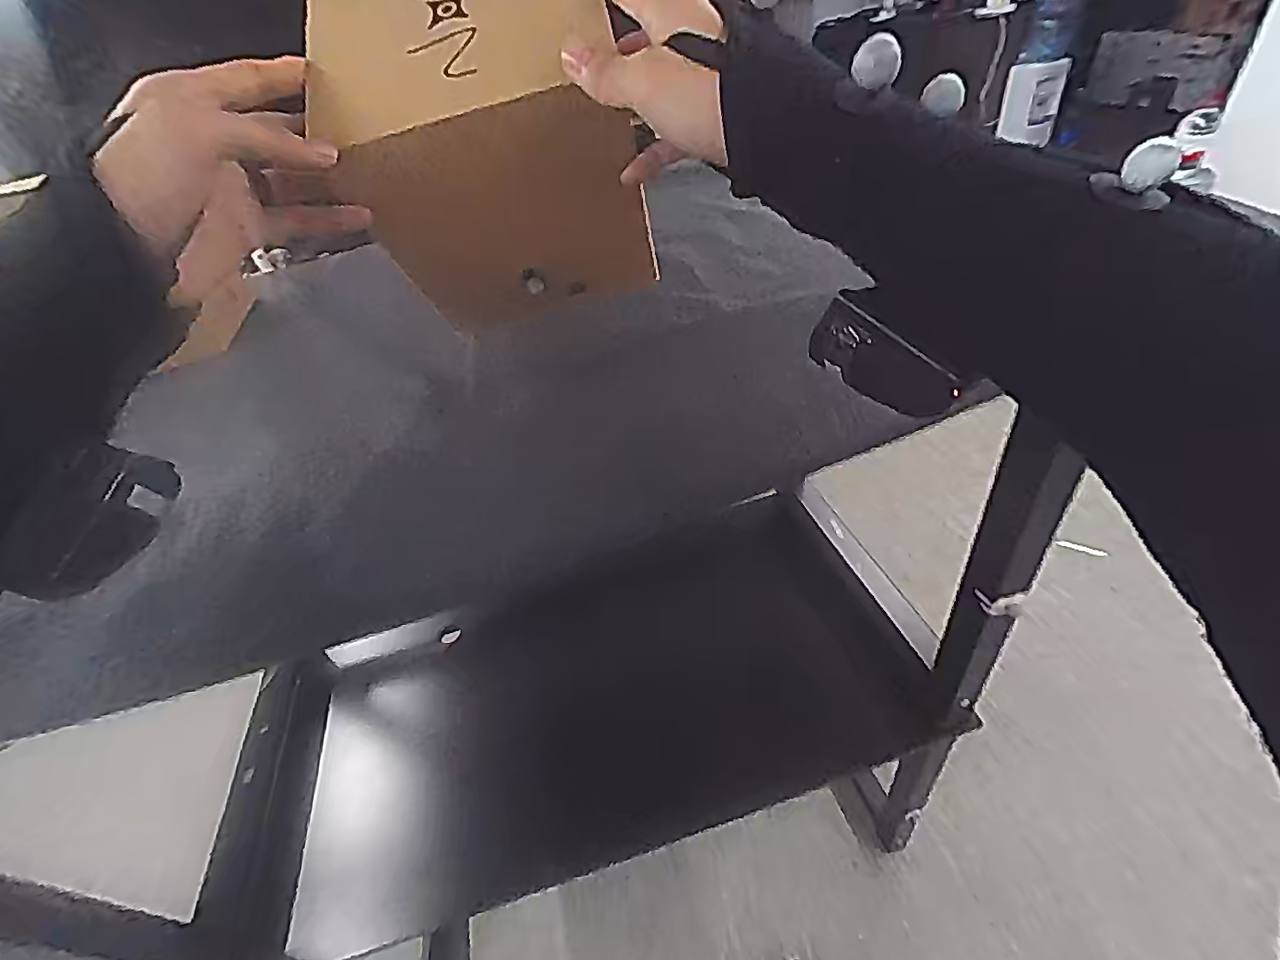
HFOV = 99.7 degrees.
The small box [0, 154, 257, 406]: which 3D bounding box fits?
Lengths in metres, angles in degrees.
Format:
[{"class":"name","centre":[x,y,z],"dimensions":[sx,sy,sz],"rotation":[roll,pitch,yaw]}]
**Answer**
[{"class":"small box","centre":[-0.532,-0.202,0.542],"dimensions":[0.179,0.176,0.168],"rotation":[-19,41,-7]}]
